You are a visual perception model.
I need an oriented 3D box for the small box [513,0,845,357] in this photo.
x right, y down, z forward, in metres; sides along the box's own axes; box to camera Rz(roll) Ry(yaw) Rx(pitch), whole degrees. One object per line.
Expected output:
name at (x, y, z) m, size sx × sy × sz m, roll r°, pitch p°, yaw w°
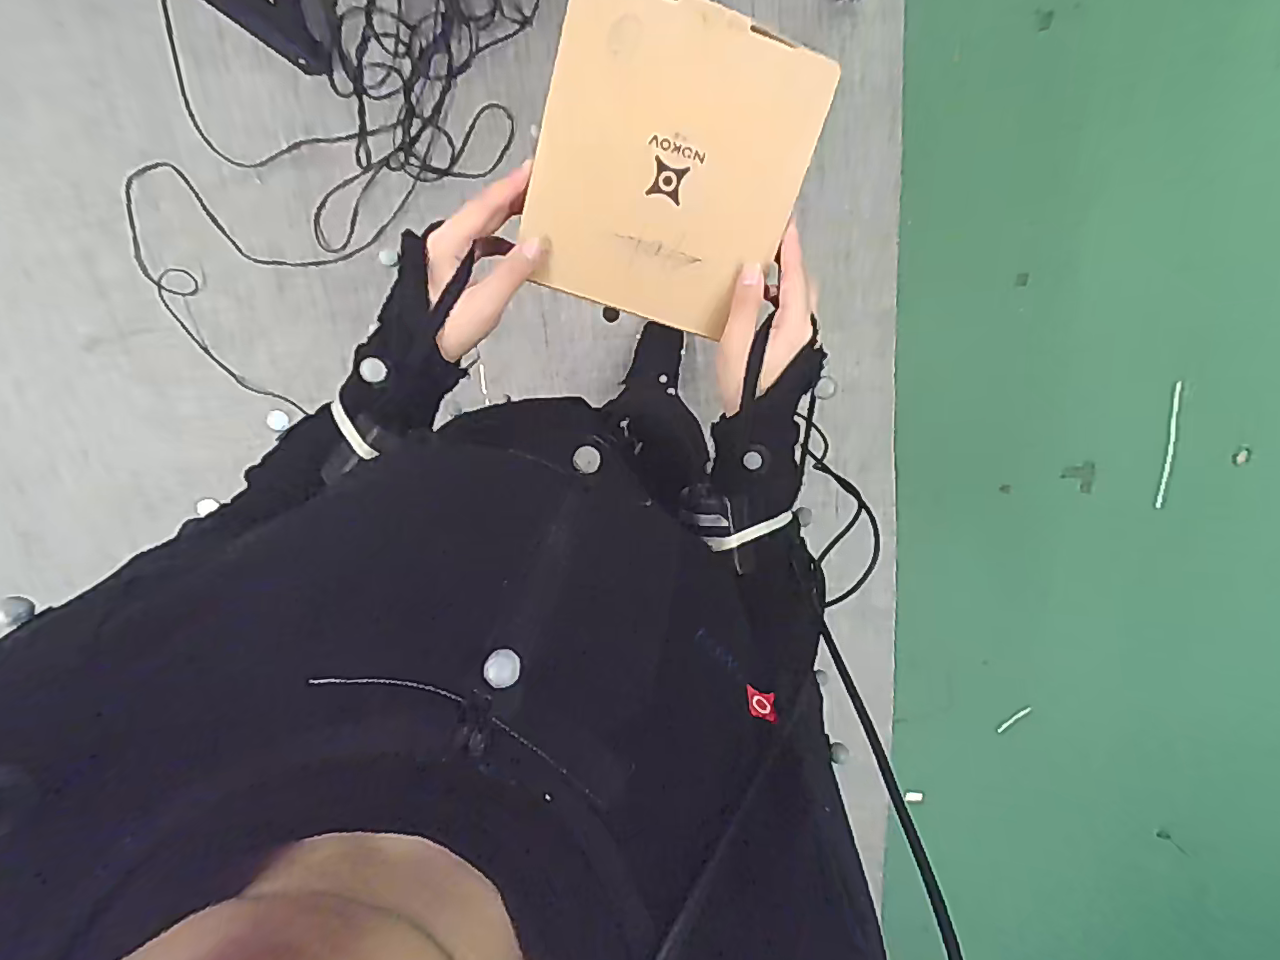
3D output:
small box at (0.016, -0.210, 0.408) m, size 0.168 × 0.176 × 0.179 m, roll 16°, pitch 109°, yaw -7°
